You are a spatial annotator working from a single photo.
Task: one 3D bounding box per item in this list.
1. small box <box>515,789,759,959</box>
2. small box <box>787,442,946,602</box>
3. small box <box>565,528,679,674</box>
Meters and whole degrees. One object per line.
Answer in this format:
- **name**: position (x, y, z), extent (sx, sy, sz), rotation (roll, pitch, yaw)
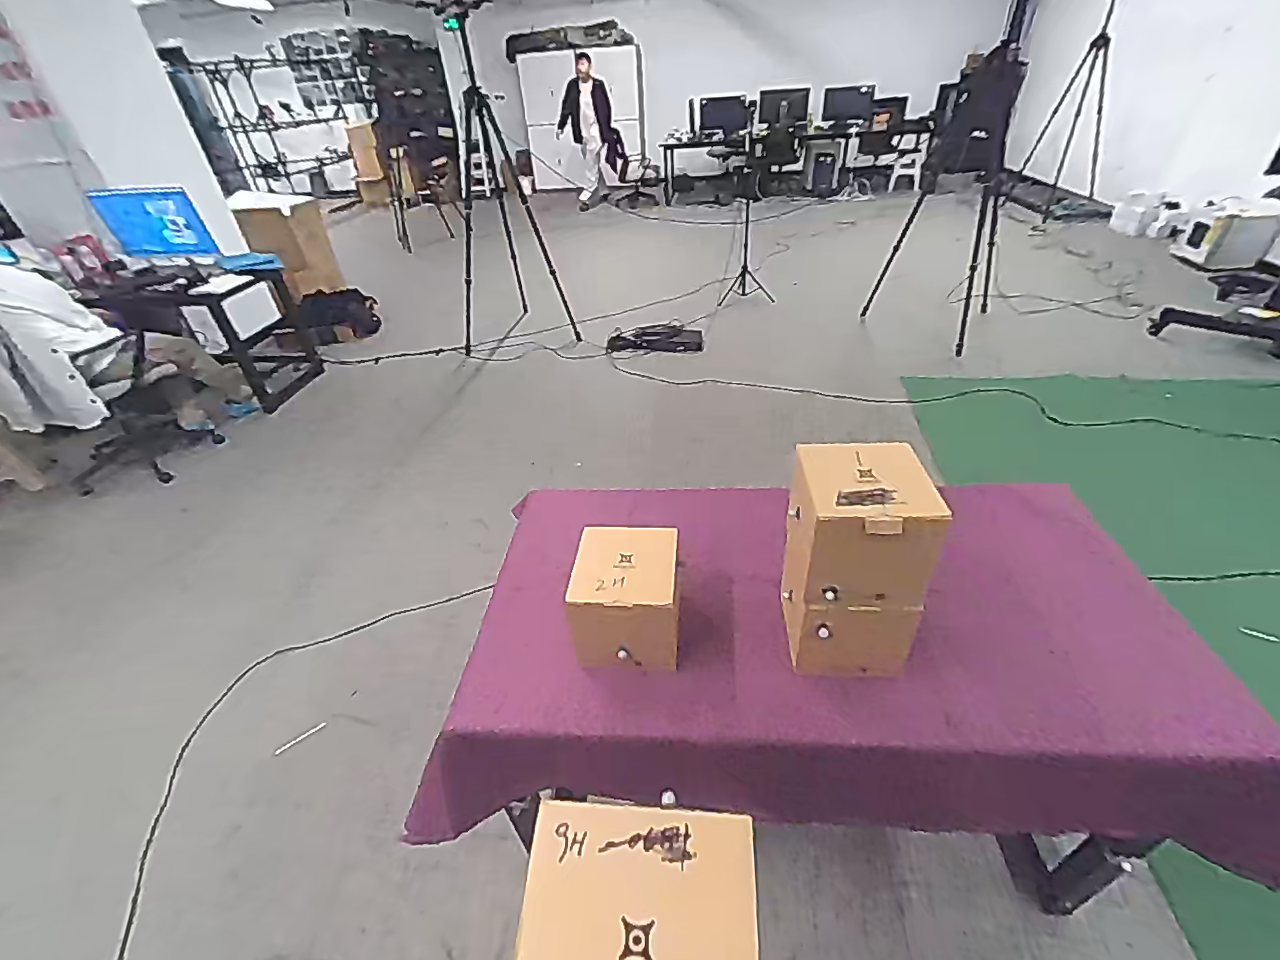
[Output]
- **small box**: position (0.006, 0.359, 0.426), extent (0.168, 0.176, 0.179), rotation (0, 52, 6)
- **small box**: position (0.314, 0.062, 0.792), extent (0.168, 0.176, 0.179), rotation (-1, 35, 6)
- **small box**: position (-0.020, 0.202, 0.920), extent (0.168, 0.176, 0.179), rotation (0, 37, 7)
